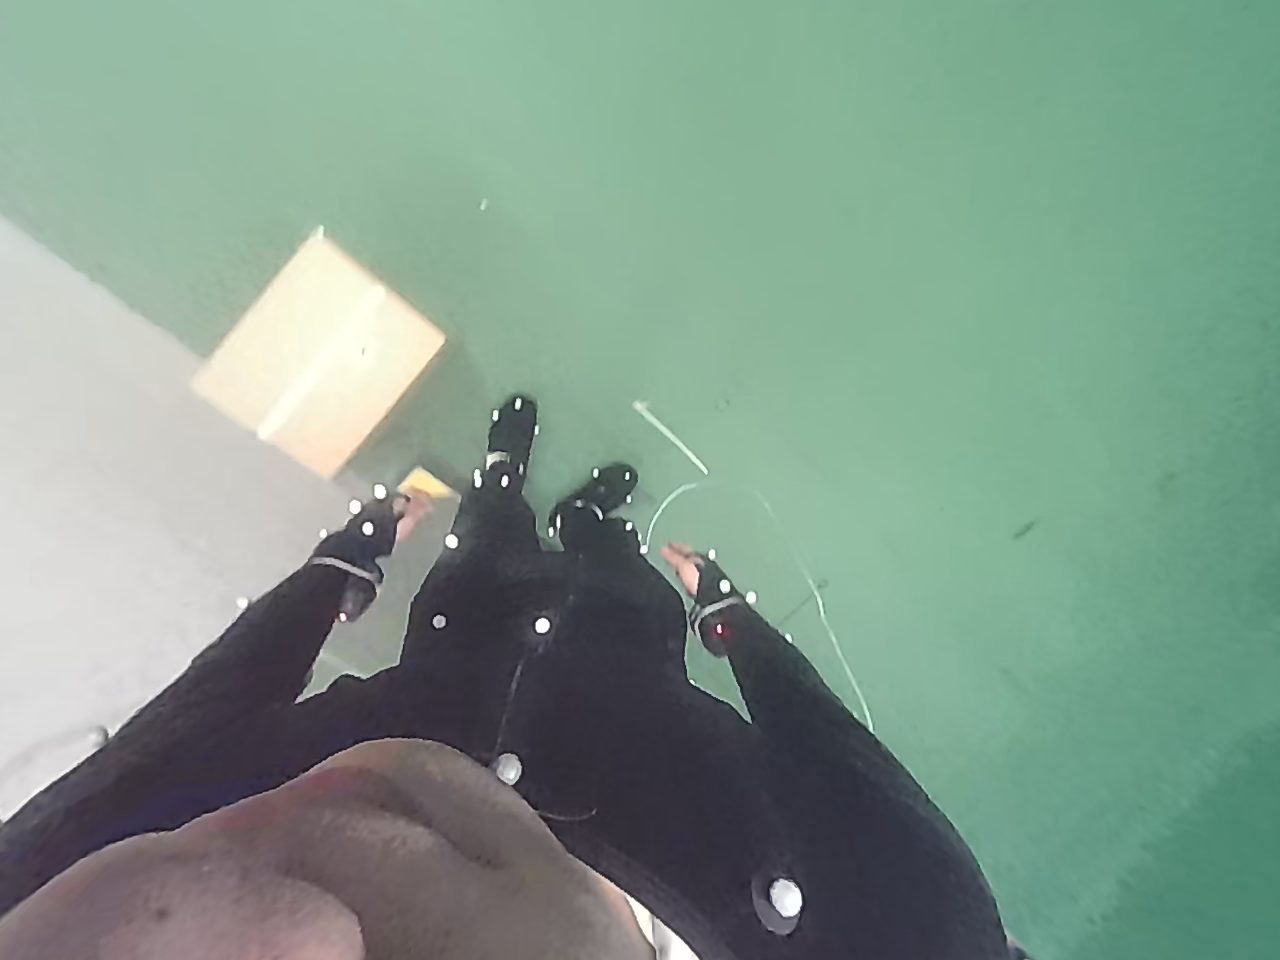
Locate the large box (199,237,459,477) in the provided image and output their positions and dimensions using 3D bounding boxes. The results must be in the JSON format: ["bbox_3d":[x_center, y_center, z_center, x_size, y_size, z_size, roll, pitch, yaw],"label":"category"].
[{"bbox_3d":[-0.690,-0.273,1.271,0.320,0.320,0.408,40,91,-17],"label":"large box"}]
